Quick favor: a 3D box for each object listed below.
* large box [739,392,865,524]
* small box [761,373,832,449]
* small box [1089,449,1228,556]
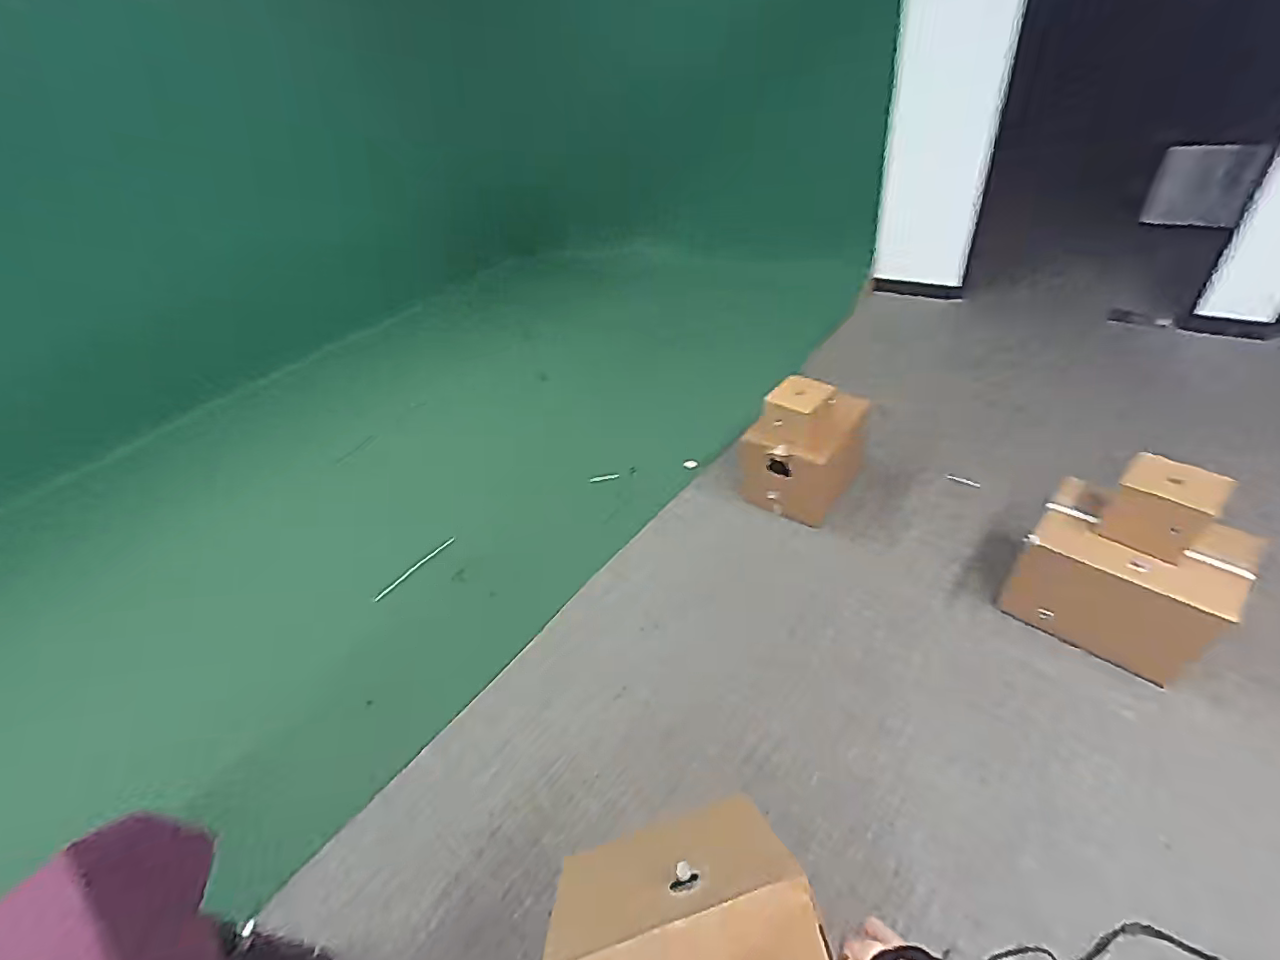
[{"bbox_3d":[0.610,-0.106,2.041,0.320,0.320,0.408,22,51,34],"label":"large box"},{"bbox_3d":[0.528,-0.231,1.828,0.168,0.176,0.179,26,53,35],"label":"small box"},{"bbox_3d":[1.259,0.059,1.322,0.168,0.176,0.179,-34,45,-27],"label":"small box"}]
